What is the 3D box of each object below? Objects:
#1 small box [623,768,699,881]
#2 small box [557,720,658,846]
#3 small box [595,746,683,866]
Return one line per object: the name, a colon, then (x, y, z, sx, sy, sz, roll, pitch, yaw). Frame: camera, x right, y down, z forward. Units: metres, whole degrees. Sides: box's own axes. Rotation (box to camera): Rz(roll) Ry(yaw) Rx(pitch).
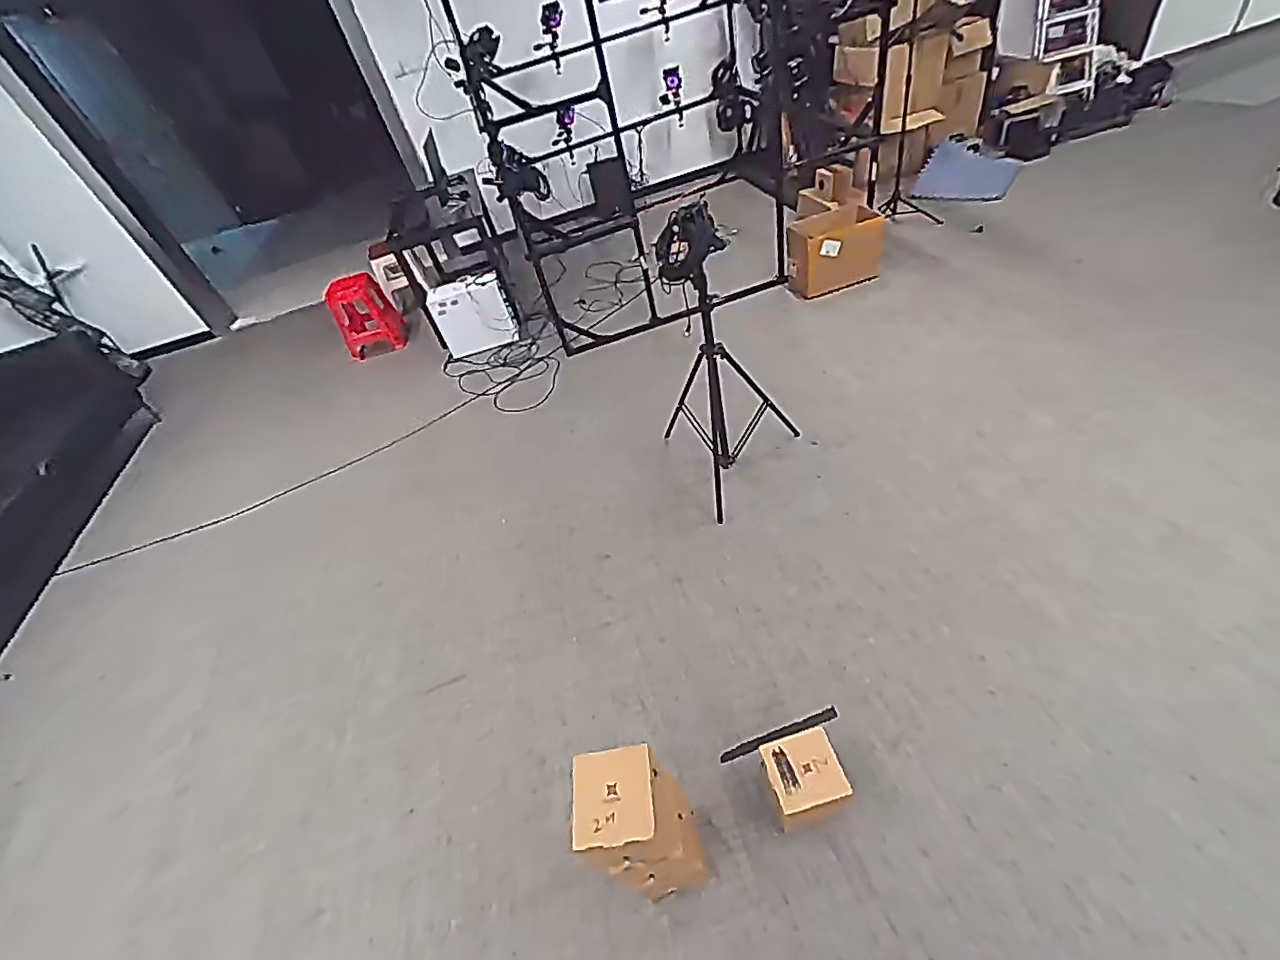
small box: (0.036, 0.845, 1.325, 0.168, 0.176, 0.179, -18, 44, 0)
small box: (-0.063, 0.622, 1.107, 0.168, 0.176, 0.179, -13, 45, 6)
small box: (-0.009, 0.735, 1.215, 0.168, 0.176, 0.179, -17, 45, 2)
